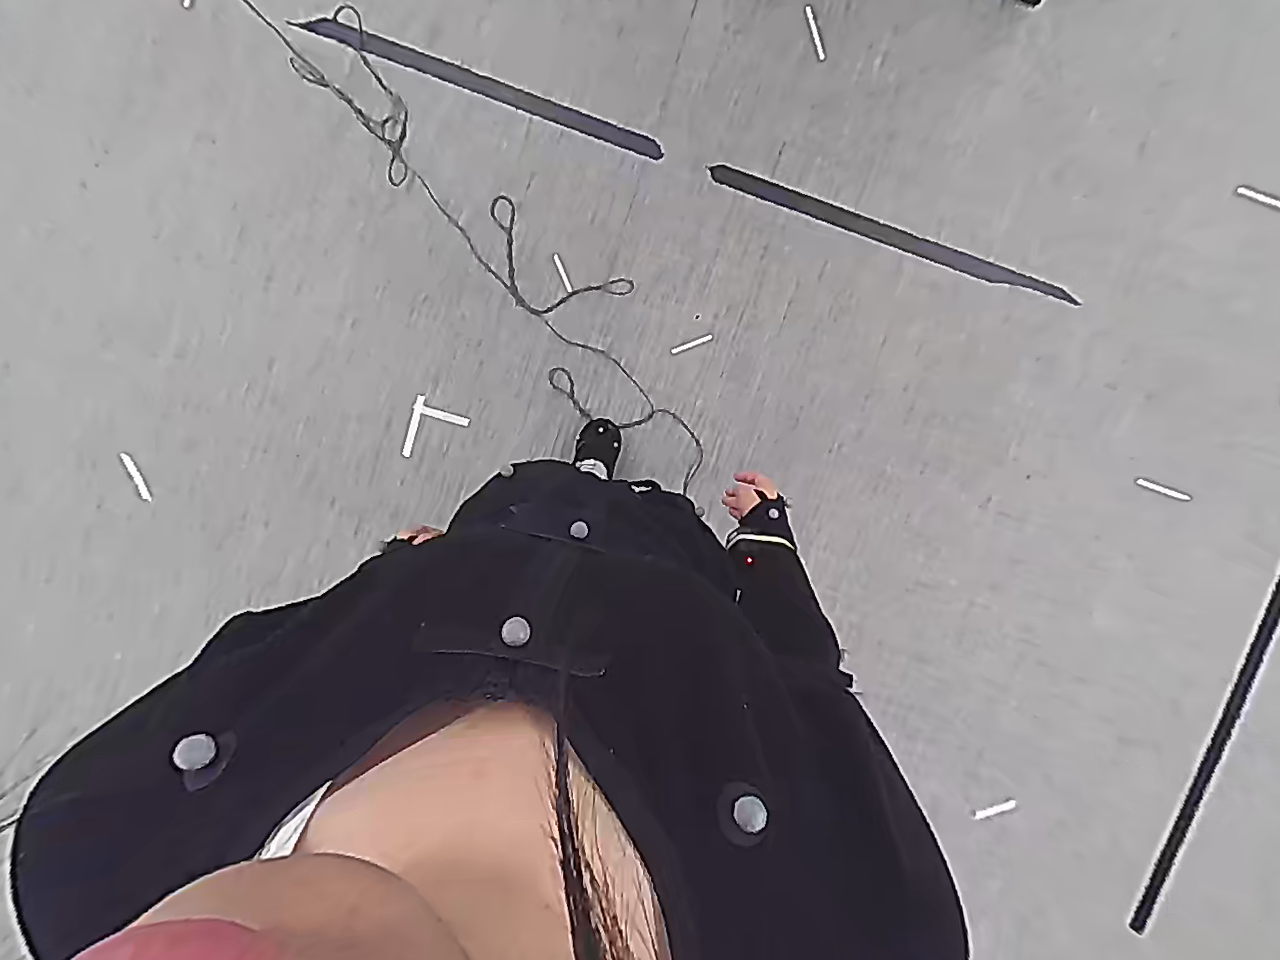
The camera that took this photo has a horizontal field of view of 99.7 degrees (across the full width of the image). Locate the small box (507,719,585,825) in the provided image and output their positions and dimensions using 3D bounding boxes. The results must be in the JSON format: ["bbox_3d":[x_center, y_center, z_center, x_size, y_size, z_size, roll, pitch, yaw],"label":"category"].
[{"bbox_3d":[-0.246,0.776,1.451,0.168,0.176,0.179,10,94,-2],"label":"small box"}]
